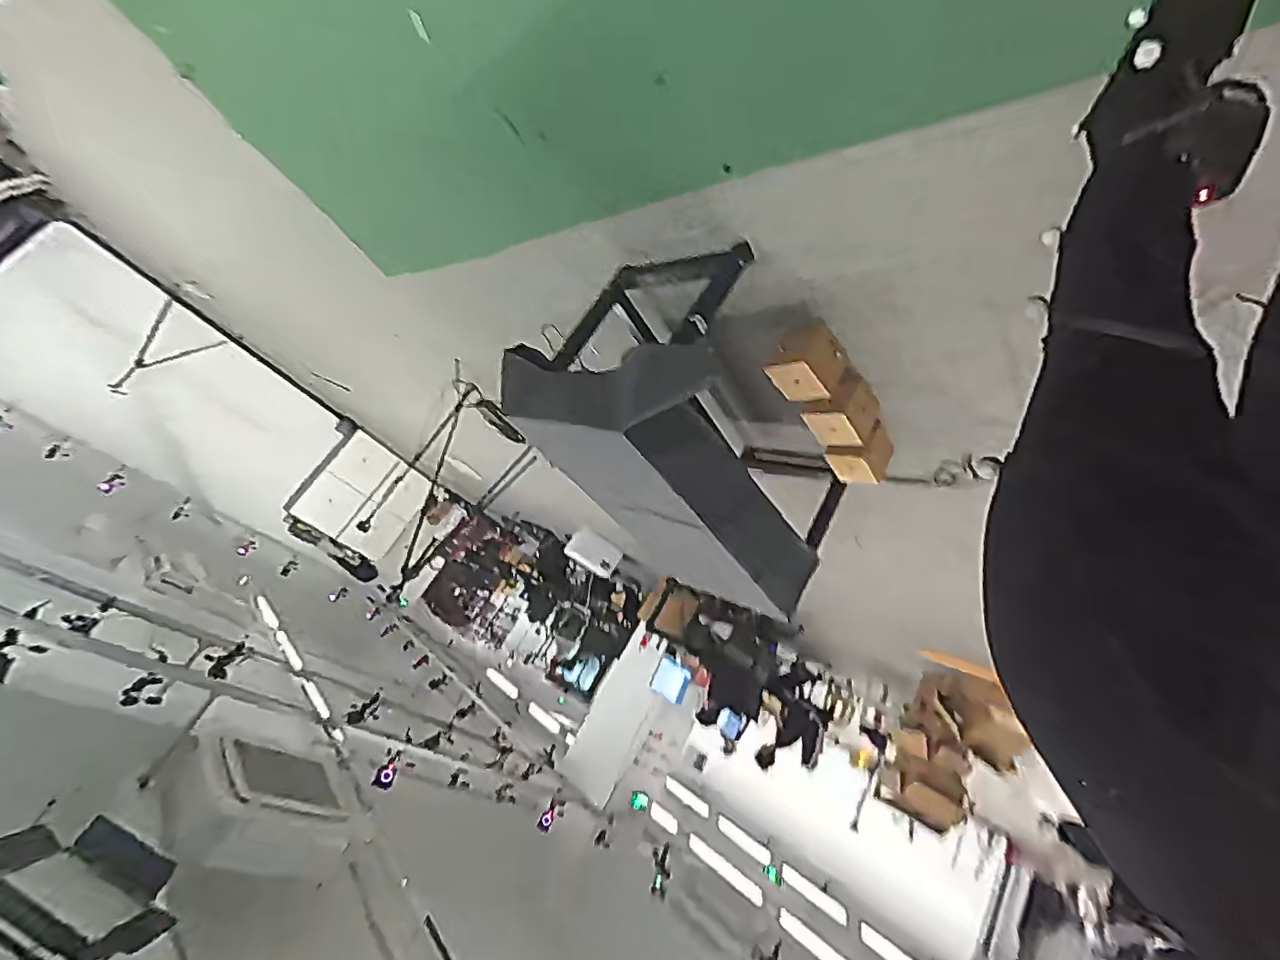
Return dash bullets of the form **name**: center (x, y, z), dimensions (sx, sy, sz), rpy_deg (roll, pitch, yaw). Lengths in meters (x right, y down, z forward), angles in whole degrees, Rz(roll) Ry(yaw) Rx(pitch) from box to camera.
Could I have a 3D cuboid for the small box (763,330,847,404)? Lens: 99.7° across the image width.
- **small box**: center (0.550, -0.373, 1.797), dimensions (0.168, 0.176, 0.179), rpy_deg (42, 160, -28)
